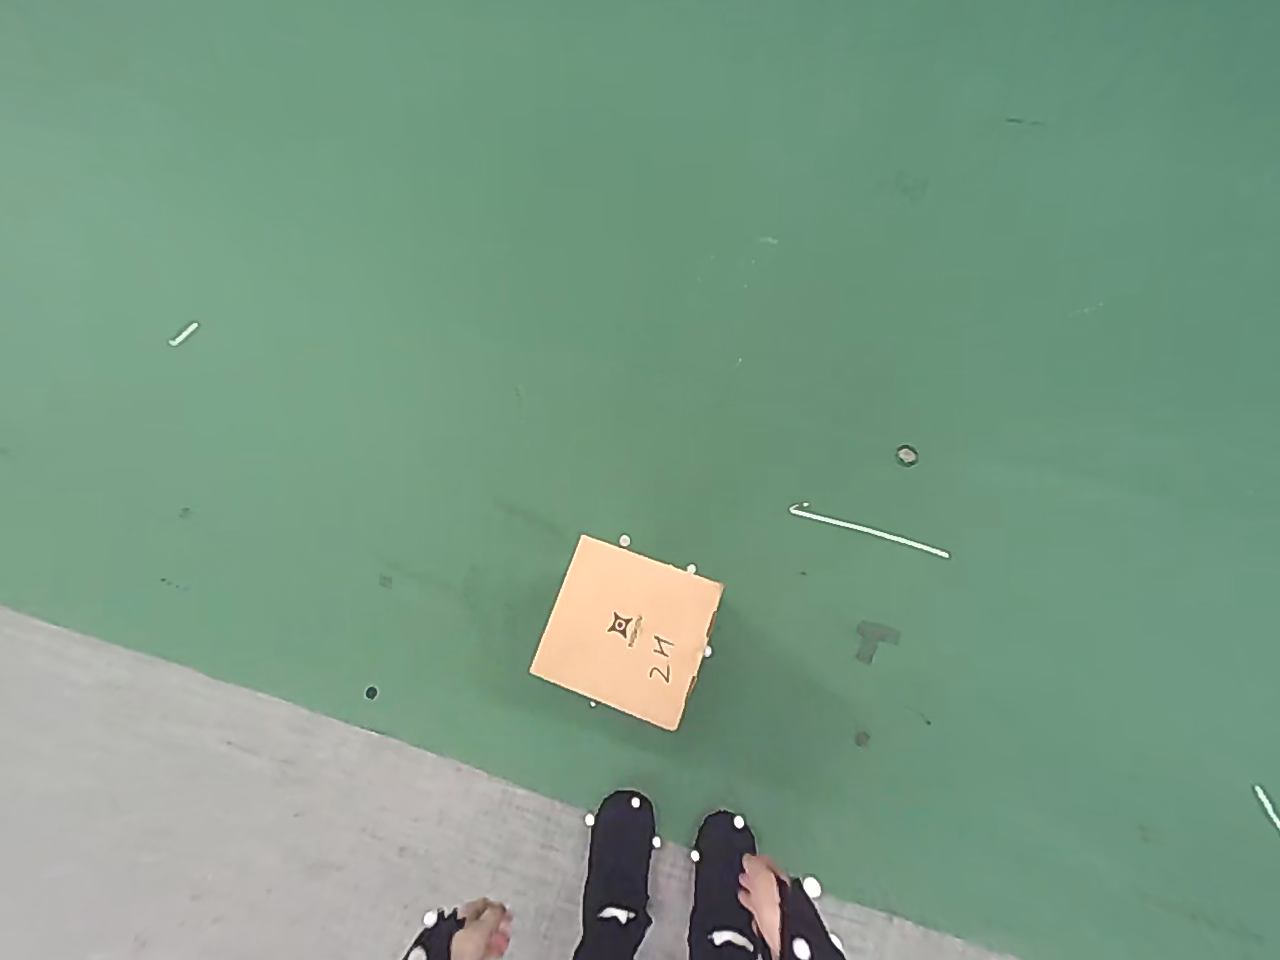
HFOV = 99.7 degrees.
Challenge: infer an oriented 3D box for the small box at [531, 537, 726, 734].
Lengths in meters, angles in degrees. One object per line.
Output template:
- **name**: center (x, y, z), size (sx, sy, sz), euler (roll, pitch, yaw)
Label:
- **small box**: center (-0.006, 0.184, 0.670), size (0.179, 0.176, 0.168), euler (19, 80, 8)
